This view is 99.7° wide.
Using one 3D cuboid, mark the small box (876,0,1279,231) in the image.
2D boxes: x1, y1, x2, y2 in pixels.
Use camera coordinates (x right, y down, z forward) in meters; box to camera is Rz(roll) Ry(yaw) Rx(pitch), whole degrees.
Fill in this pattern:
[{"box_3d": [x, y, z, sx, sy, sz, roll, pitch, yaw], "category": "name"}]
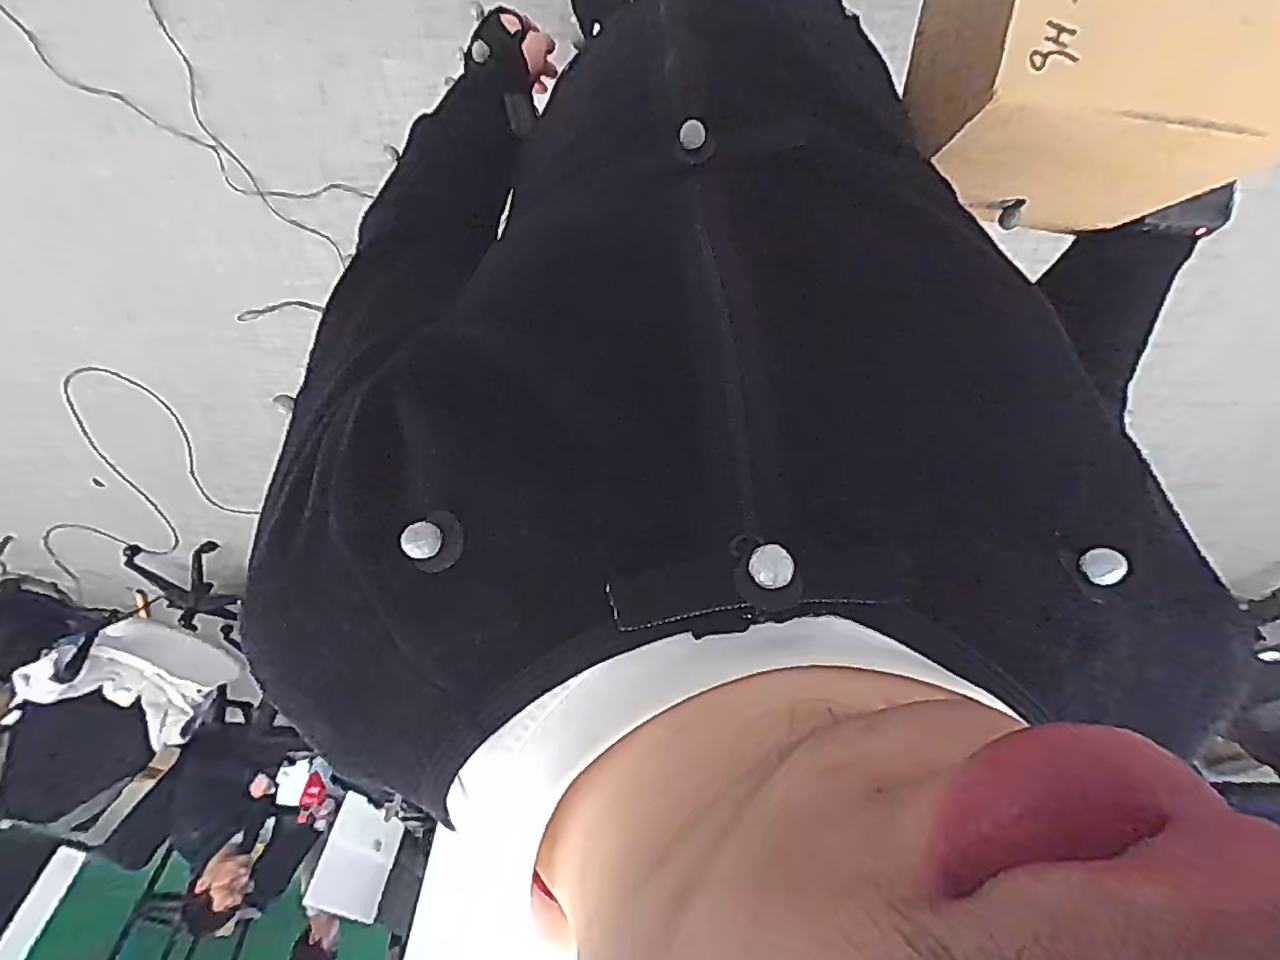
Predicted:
[{"box_3d": [0.296, -0.289, 0.377, 0.179, 0.176, 0.168, 9, 99, 3], "category": "small box"}]
